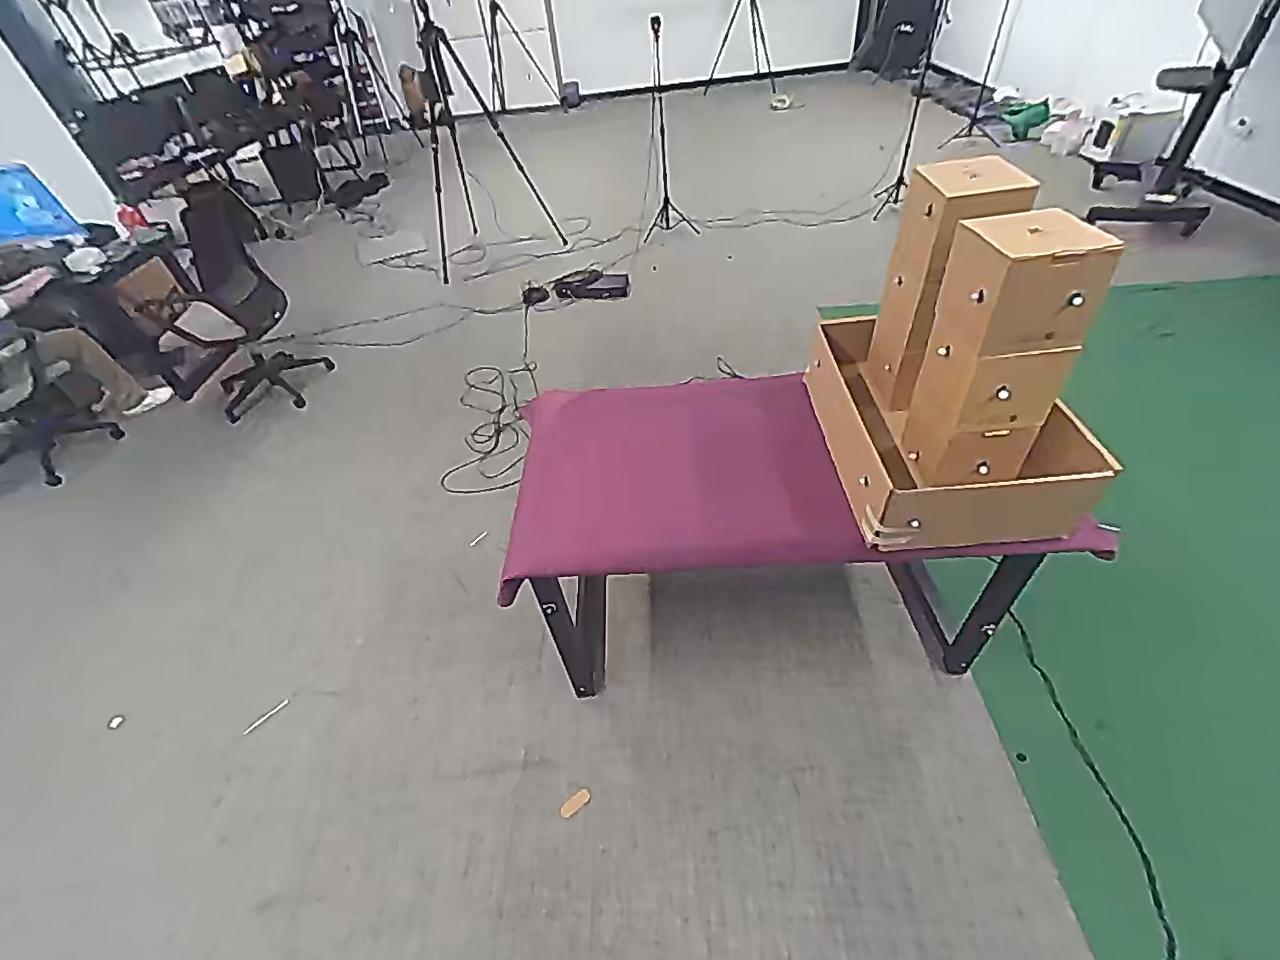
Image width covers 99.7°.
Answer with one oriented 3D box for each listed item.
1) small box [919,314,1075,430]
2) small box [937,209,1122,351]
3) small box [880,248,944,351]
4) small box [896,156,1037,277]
[{"bbox_3d":[0.648,-0.205,1.008,0.168,0.176,0.179,-6,43,5],"label":"small box"},{"bbox_3d":[0.627,-0.326,0.900,0.168,0.176,0.179,-5,43,4],"label":"small box"},{"bbox_3d":[0.656,-0.409,1.205,0.168,0.176,0.179,-6,46,4],"label":"small box"},{"bbox_3d":[0.639,-0.521,1.085,0.168,0.176,0.179,-4,46,4],"label":"small box"}]
